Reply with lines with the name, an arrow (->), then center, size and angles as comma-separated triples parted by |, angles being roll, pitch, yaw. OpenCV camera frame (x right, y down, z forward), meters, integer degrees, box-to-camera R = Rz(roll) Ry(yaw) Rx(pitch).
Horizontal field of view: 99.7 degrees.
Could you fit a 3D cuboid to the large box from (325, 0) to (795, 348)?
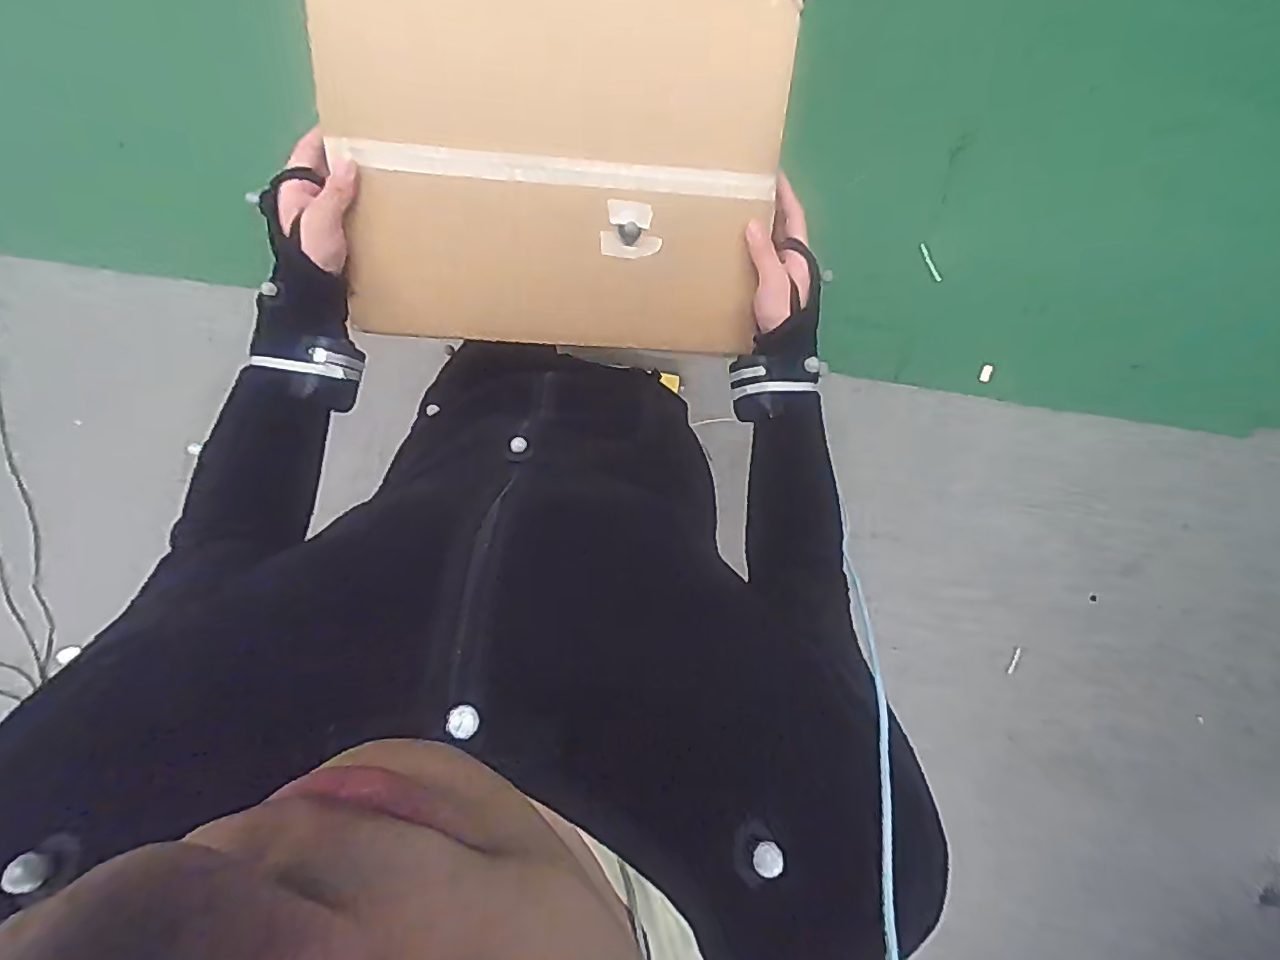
large box -> -0.083, -0.343, 0.644 | 0.408, 0.320, 0.320 | 2, 113, -6
